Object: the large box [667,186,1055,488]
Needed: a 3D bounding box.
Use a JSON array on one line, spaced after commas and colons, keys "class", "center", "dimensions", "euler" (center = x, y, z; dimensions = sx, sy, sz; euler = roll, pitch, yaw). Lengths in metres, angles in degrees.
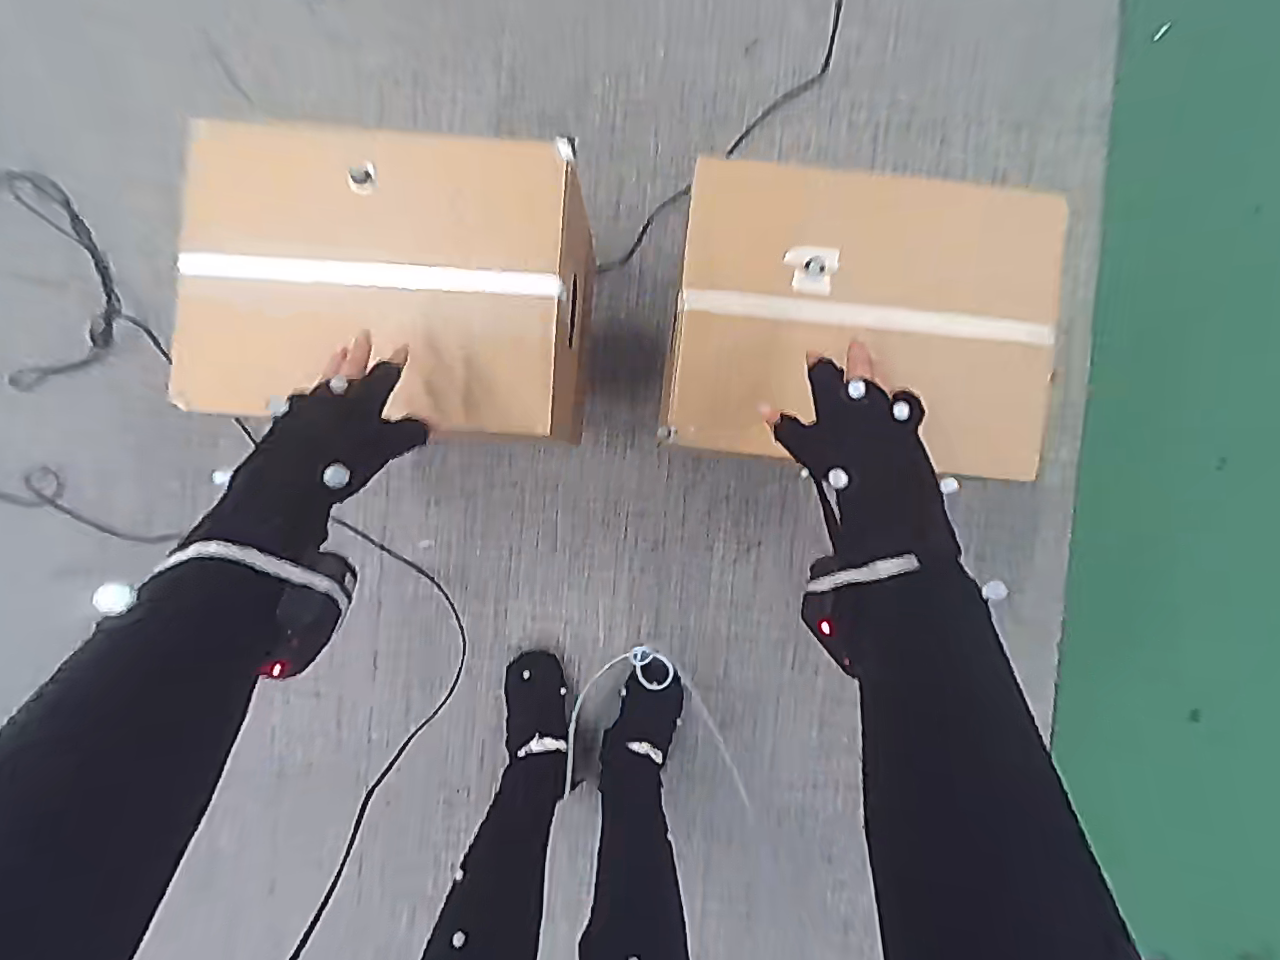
[{"class": "large box", "center": [0.256, -0.166, 0.759], "dimensions": [0.408, 0.320, 0.320], "euler": [7, 91, 1]}]
